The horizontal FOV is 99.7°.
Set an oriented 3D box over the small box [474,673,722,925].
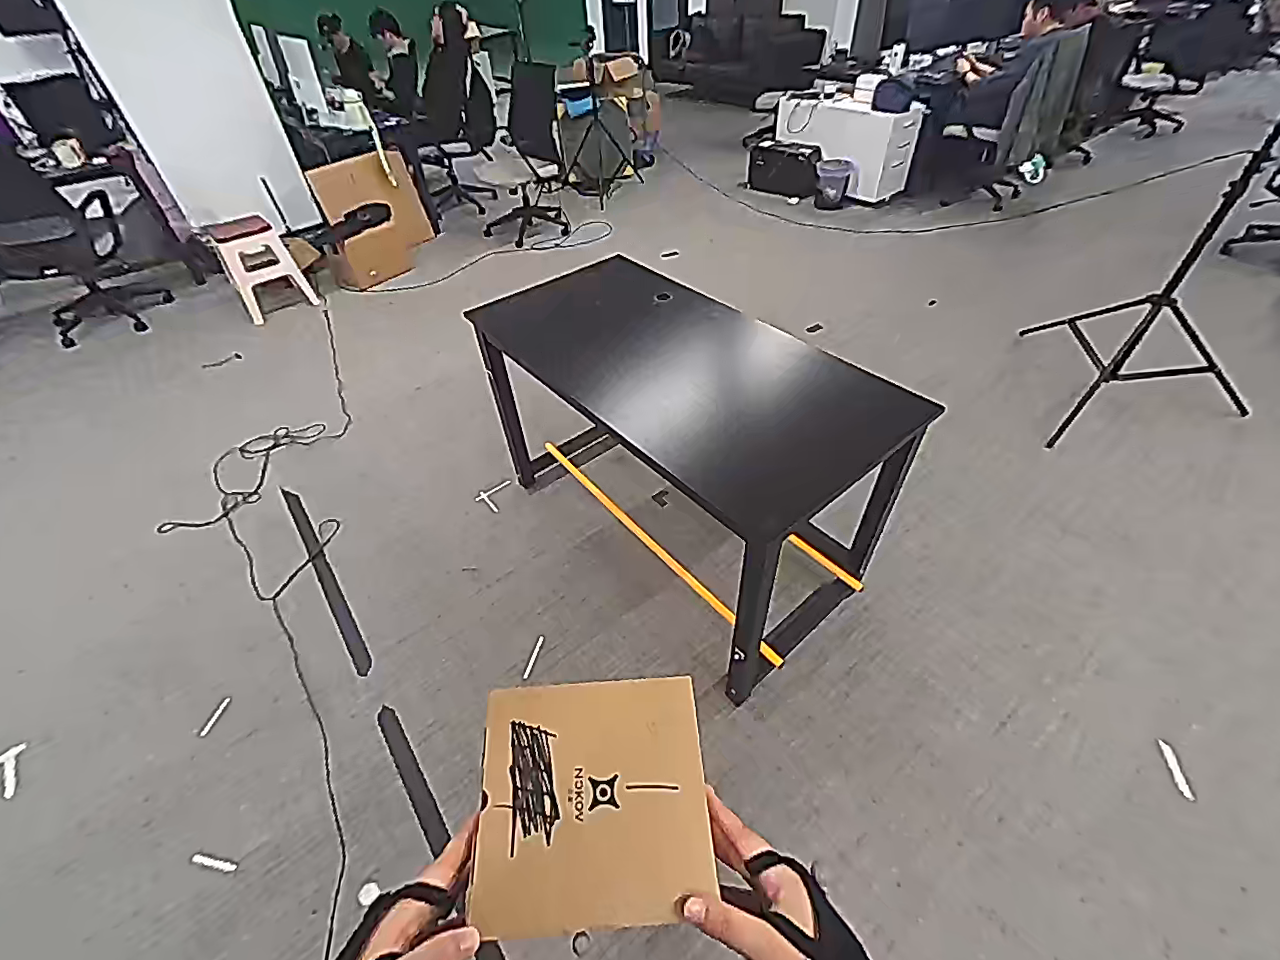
[{"bbox_3d":[-0.033,0.286,0.482,0.179,0.176,0.168,-3,53,-4],"label":"small box"}]
